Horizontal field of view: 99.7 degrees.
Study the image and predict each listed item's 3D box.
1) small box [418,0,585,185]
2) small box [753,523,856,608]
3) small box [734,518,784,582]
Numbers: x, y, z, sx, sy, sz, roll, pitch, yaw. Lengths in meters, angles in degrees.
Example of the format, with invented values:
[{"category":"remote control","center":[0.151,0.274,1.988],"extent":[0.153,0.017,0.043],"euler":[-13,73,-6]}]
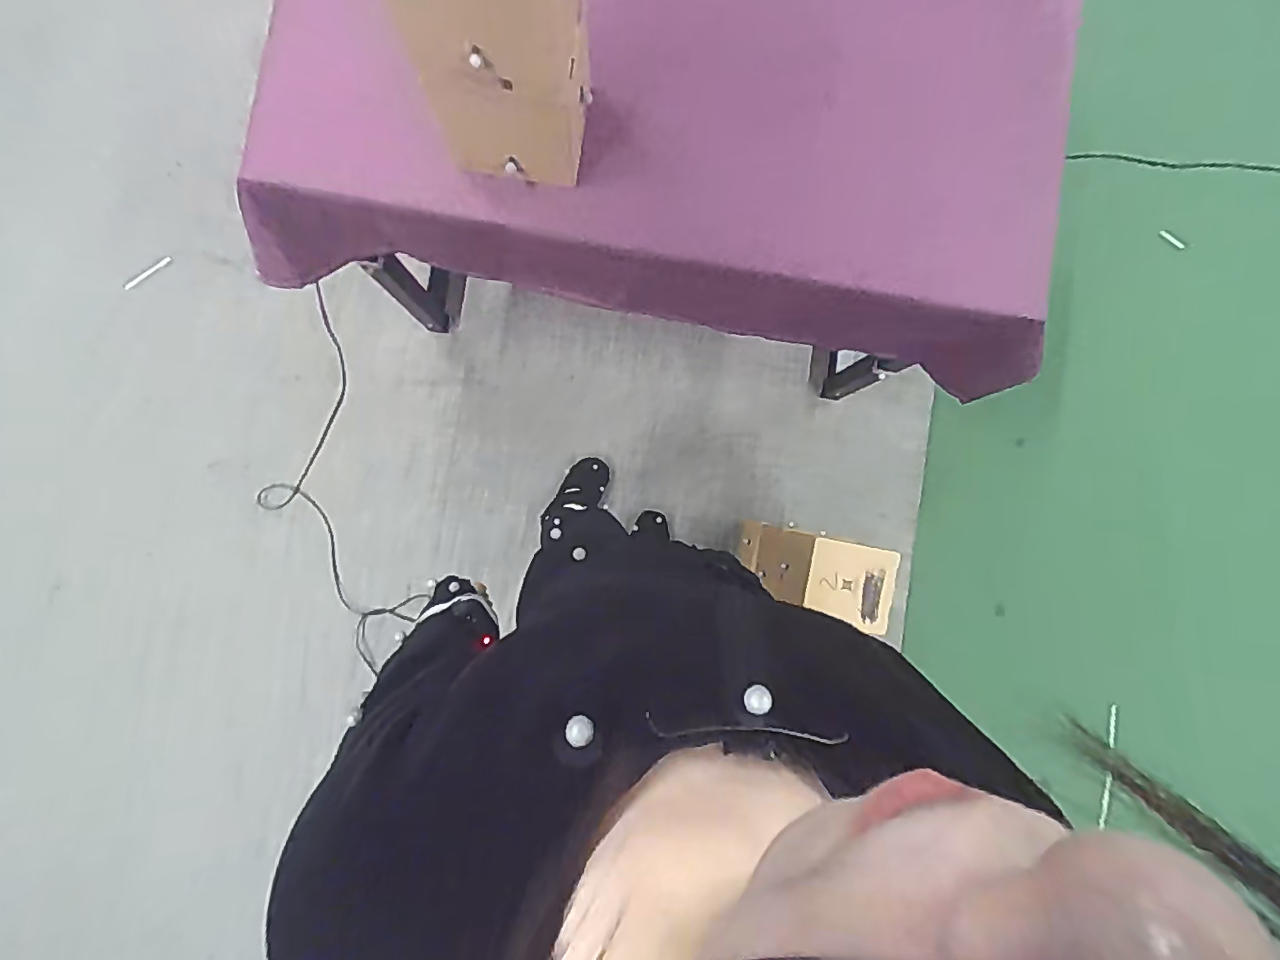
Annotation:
[{"category":"small box","center":[-0.168,-0.523,0.715],"extent":[0.179,0.176,0.168],"euler":[7,87,-4]},{"category":"small box","center":[0.383,0.196,1.289],"extent":[0.179,0.176,0.168],"euler":[10,88,-4]},{"category":"small box","center":[0.365,0.199,1.451],"extent":[0.179,0.176,0.168],"euler":[13,87,-4]}]
